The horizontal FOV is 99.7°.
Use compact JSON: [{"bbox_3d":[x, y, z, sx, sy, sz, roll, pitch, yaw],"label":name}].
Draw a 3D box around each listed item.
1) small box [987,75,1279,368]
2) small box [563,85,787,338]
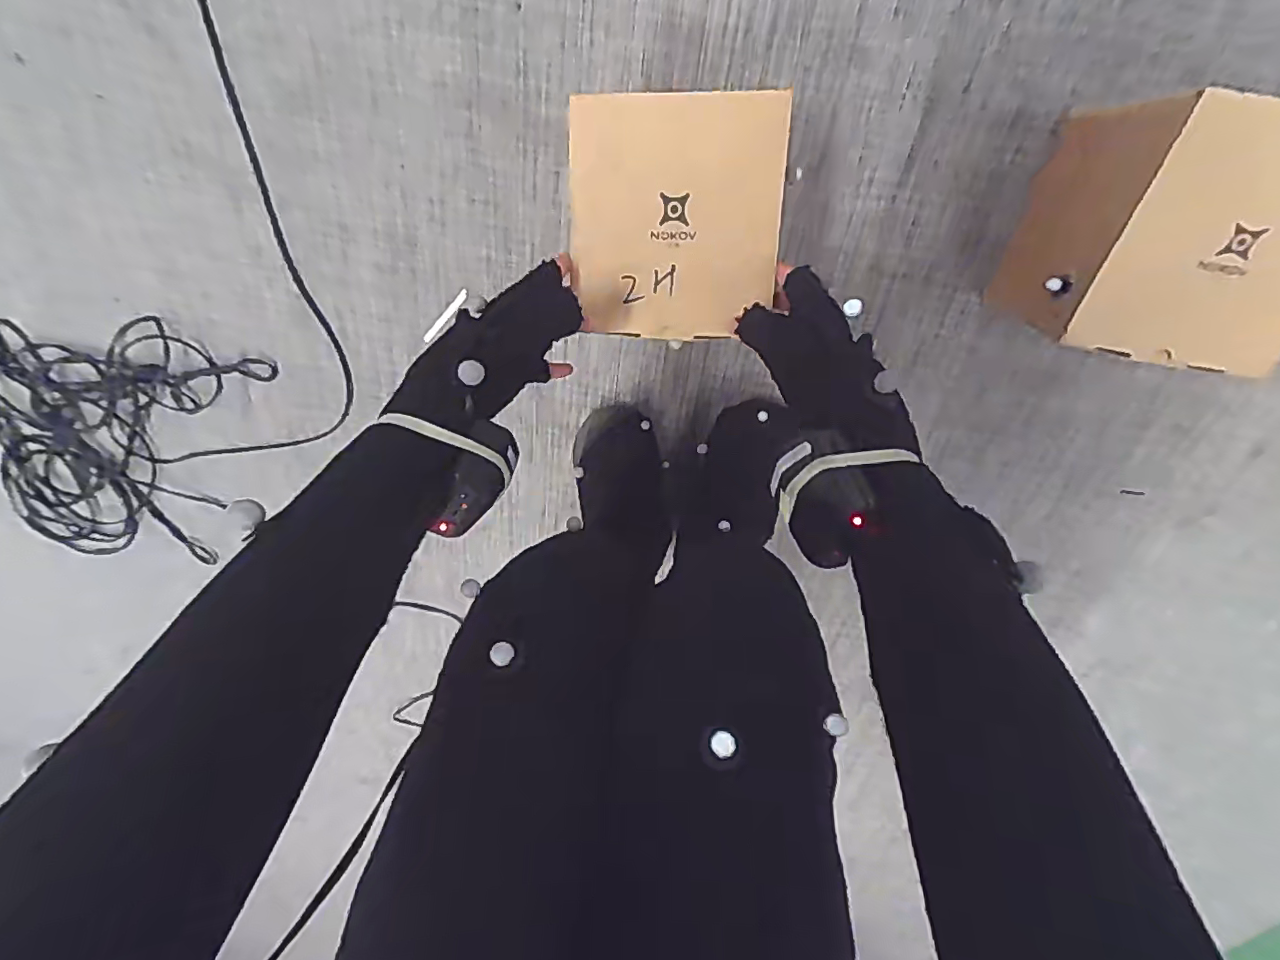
[{"bbox_3d":[0.439,-0.218,0.461,0.168,0.176,0.179,11,123,4],"label":"small box"},{"bbox_3d":[0.031,-0.224,0.493,0.168,0.176,0.179,4,106,7],"label":"small box"}]
